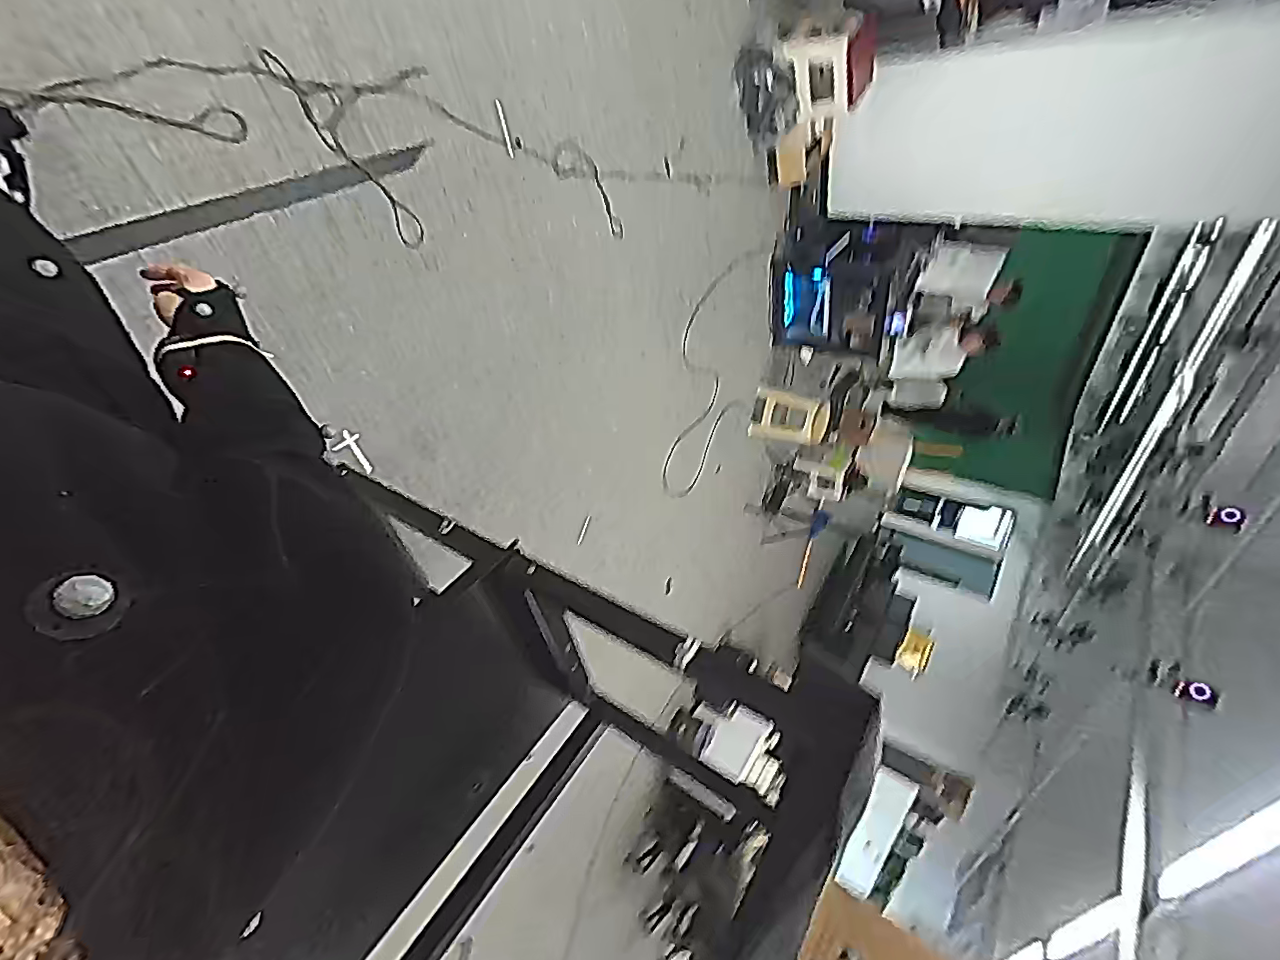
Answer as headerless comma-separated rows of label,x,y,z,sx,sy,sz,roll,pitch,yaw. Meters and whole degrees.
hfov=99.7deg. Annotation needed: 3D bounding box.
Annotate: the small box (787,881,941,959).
small box,0.264,0.632,0.652,0.168,0.176,0.179,-46,142,-33
